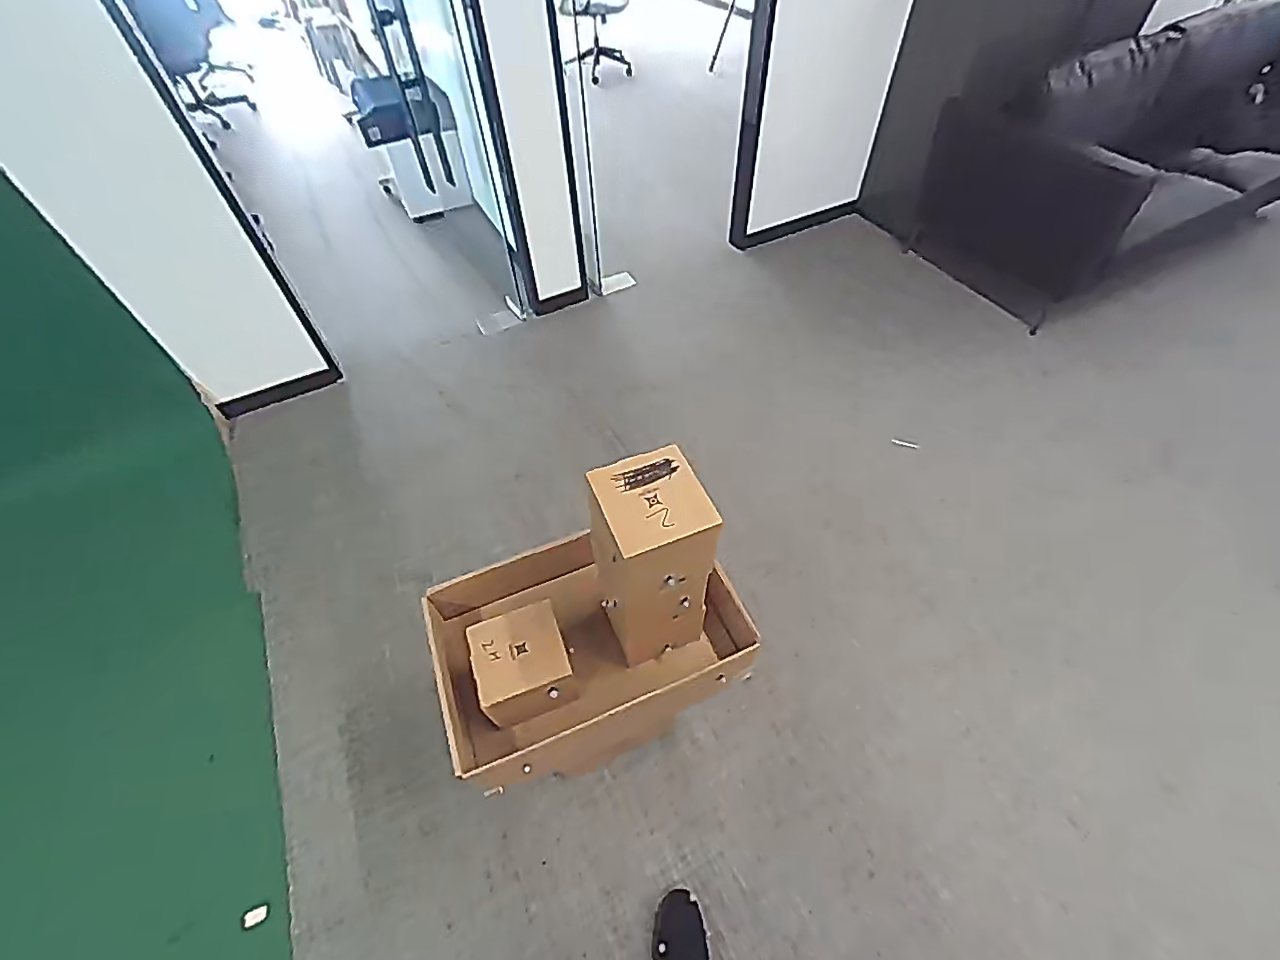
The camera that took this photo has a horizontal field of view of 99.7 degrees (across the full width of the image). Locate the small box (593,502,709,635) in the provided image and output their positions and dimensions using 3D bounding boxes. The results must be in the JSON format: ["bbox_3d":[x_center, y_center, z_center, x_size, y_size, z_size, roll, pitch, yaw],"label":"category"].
[{"bbox_3d":[0.020,0.178,1.044,0.168,0.176,0.179,-18,54,-13],"label":"small box"}]
